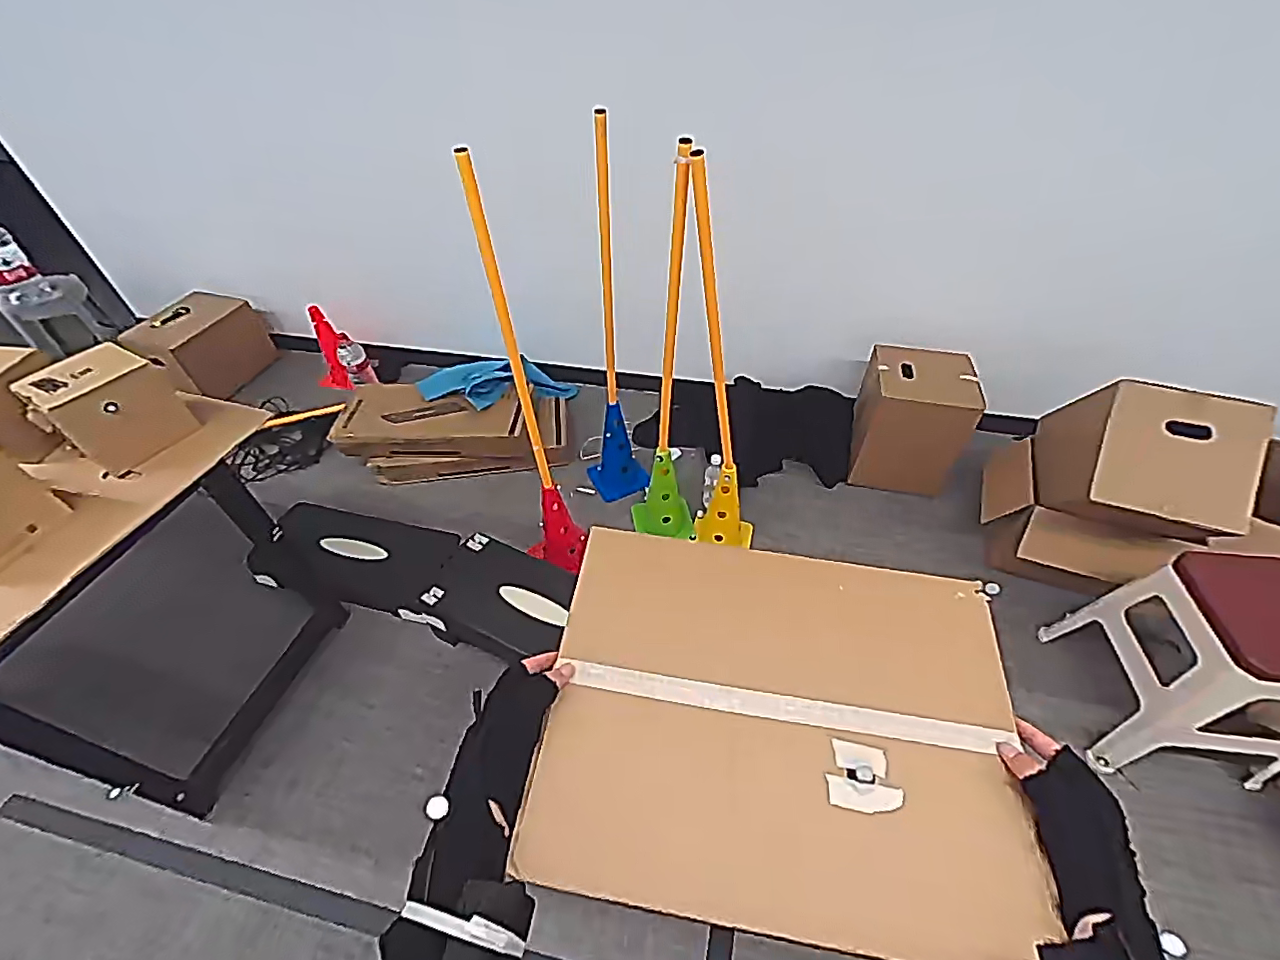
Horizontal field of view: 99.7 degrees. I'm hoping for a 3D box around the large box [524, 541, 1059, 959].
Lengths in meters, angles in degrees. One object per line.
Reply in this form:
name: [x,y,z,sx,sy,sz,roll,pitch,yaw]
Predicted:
large box: [0.123,0.300,0.604,0.408,0.320,0.320,8,54,5]
